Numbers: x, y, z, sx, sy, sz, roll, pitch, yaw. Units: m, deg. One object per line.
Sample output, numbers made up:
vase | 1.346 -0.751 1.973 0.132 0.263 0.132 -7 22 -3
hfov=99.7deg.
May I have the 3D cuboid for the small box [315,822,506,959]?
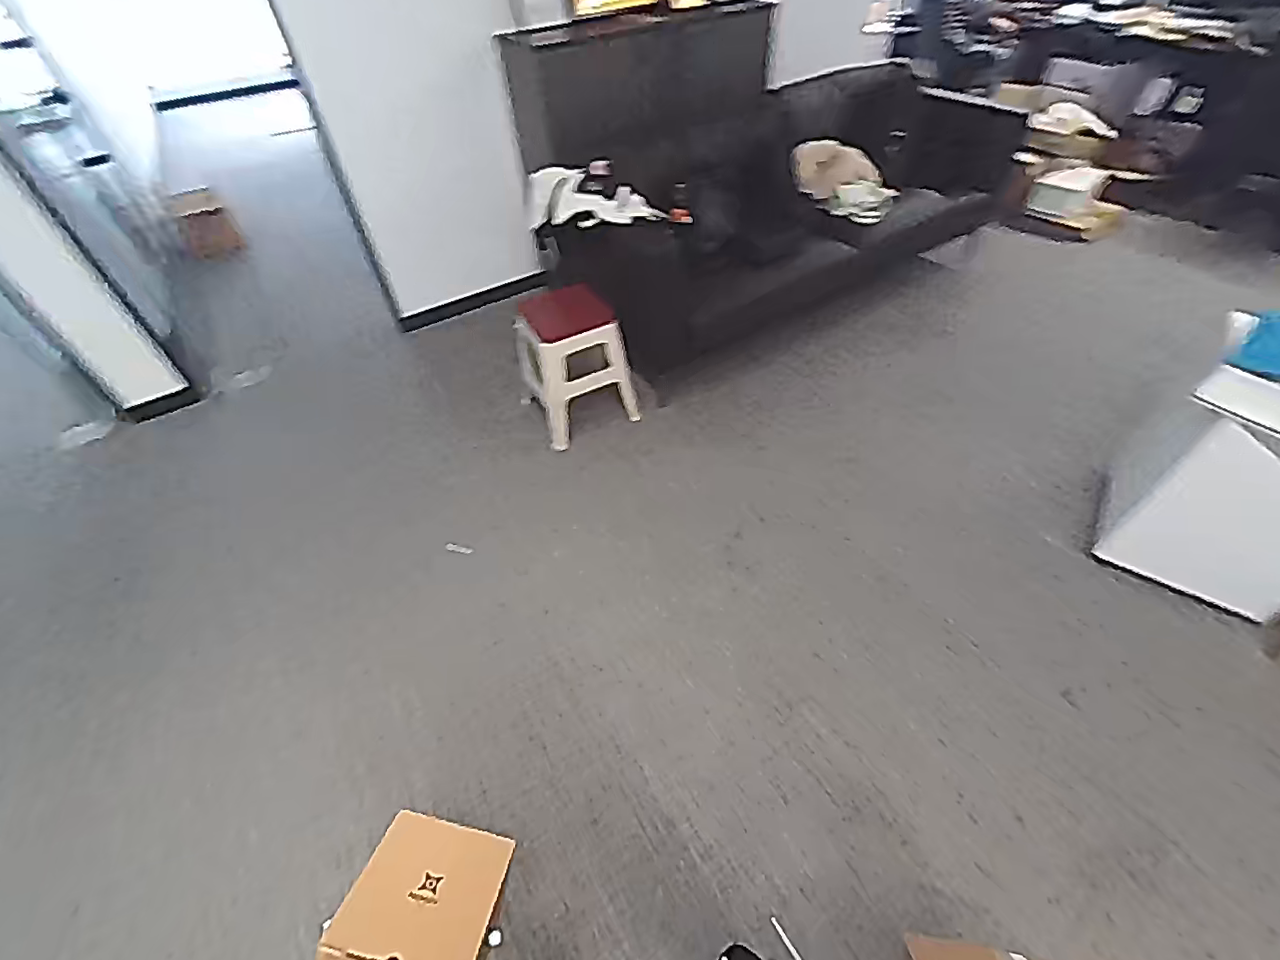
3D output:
small box | -0.282 0.578 0.666 0.168 0.176 0.179 14 12 -1
